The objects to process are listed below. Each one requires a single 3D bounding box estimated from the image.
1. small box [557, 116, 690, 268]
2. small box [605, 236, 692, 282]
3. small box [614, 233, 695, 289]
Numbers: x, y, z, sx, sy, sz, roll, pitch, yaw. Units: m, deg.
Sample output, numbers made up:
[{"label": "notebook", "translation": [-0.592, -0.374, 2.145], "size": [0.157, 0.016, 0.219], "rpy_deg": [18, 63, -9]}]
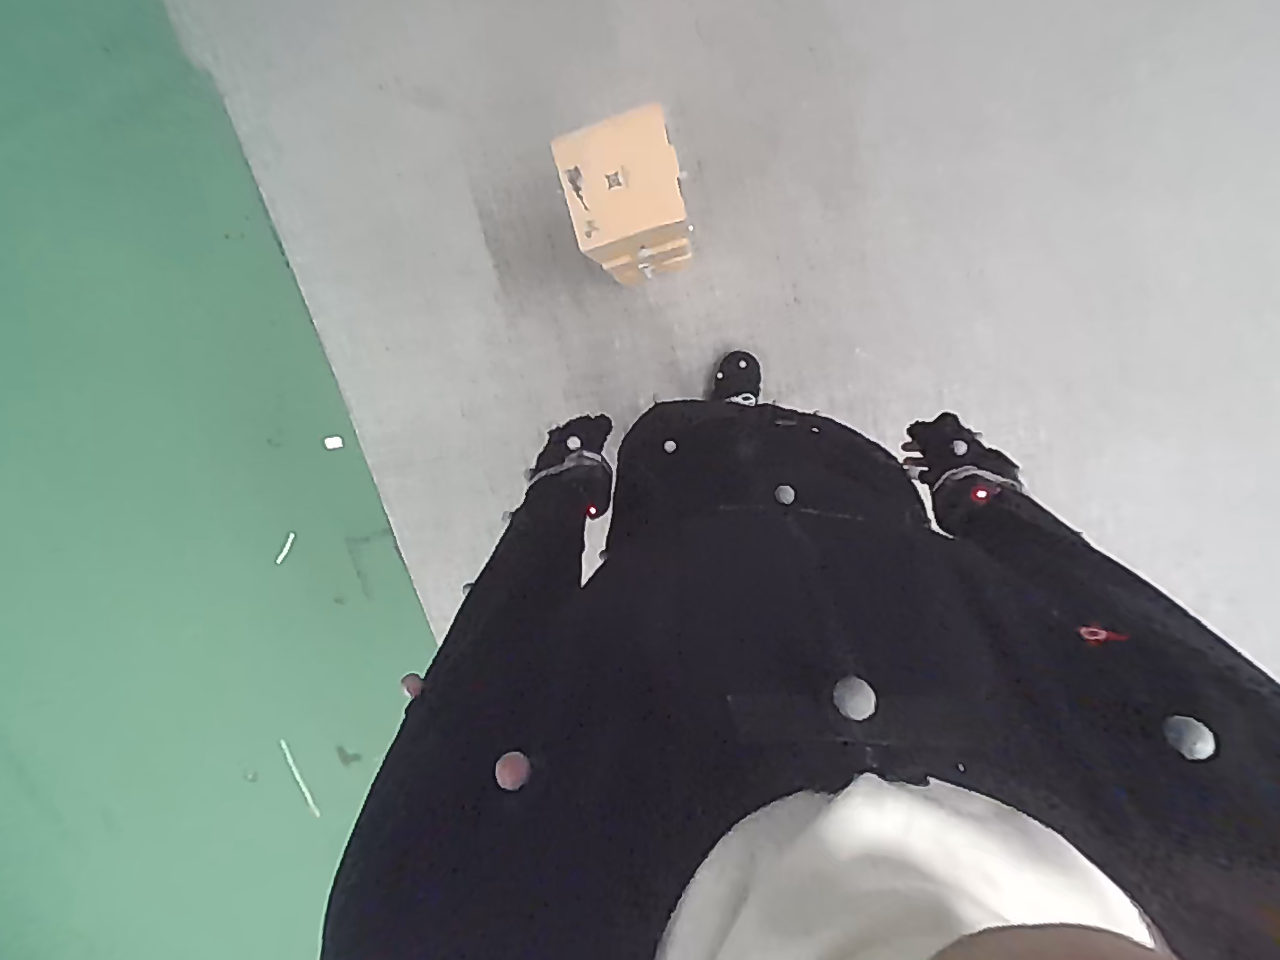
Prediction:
[{"label": "small box", "translation": [-0.017, -0.466, 0.903], "size": [0.179, 0.176, 0.168], "rpy_deg": [-12, 103, 10]}, {"label": "small box", "translation": [0.004, -0.504, 1.061], "size": [0.168, 0.176, 0.179], "rpy_deg": [-13, 104, 11]}, {"label": "small box", "translation": [0.024, -0.537, 1.218], "size": [0.179, 0.176, 0.168], "rpy_deg": [-11, 104, 9]}]
